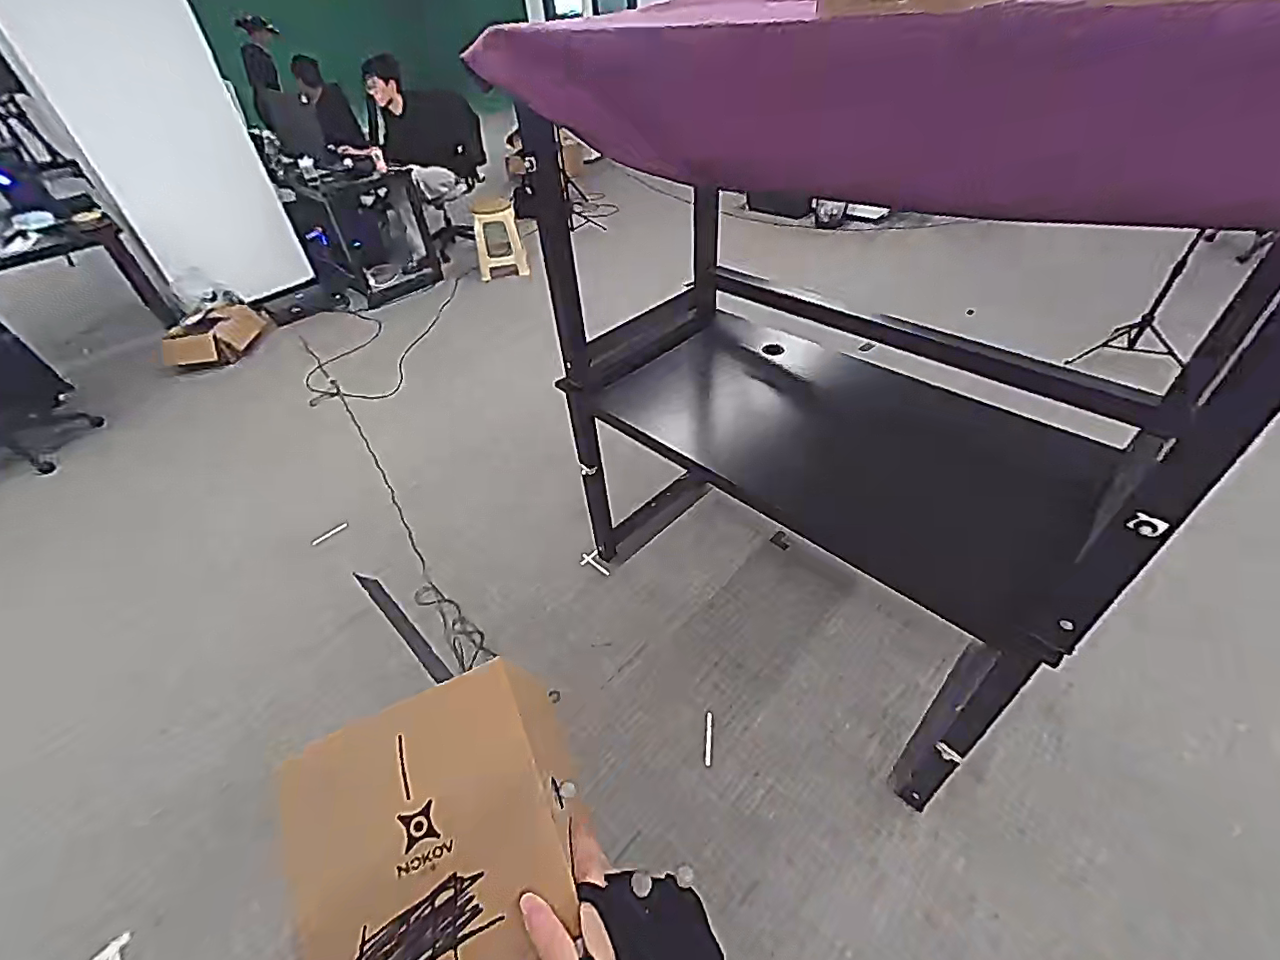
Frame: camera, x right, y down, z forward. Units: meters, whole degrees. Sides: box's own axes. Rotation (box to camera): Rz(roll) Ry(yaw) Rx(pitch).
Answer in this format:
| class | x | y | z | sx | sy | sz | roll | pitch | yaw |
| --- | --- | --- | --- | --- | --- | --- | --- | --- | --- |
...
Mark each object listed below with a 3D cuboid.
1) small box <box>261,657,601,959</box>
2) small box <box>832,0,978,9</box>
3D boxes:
| class | x | y | z | sx | sy | sz | roll | pitch | yaw |
| --- | --- | --- | --- | --- | --- | --- | --- | --- | --- |
| small box | -0.138 | 0.257 | 0.406 | 0.168 | 0.176 | 0.179 | -23 | 65 | -9 |
| small box | 0.322 | -0.611 | 0.567 | 0.168 | 0.176 | 0.179 | 30 | 53 | 33 |
